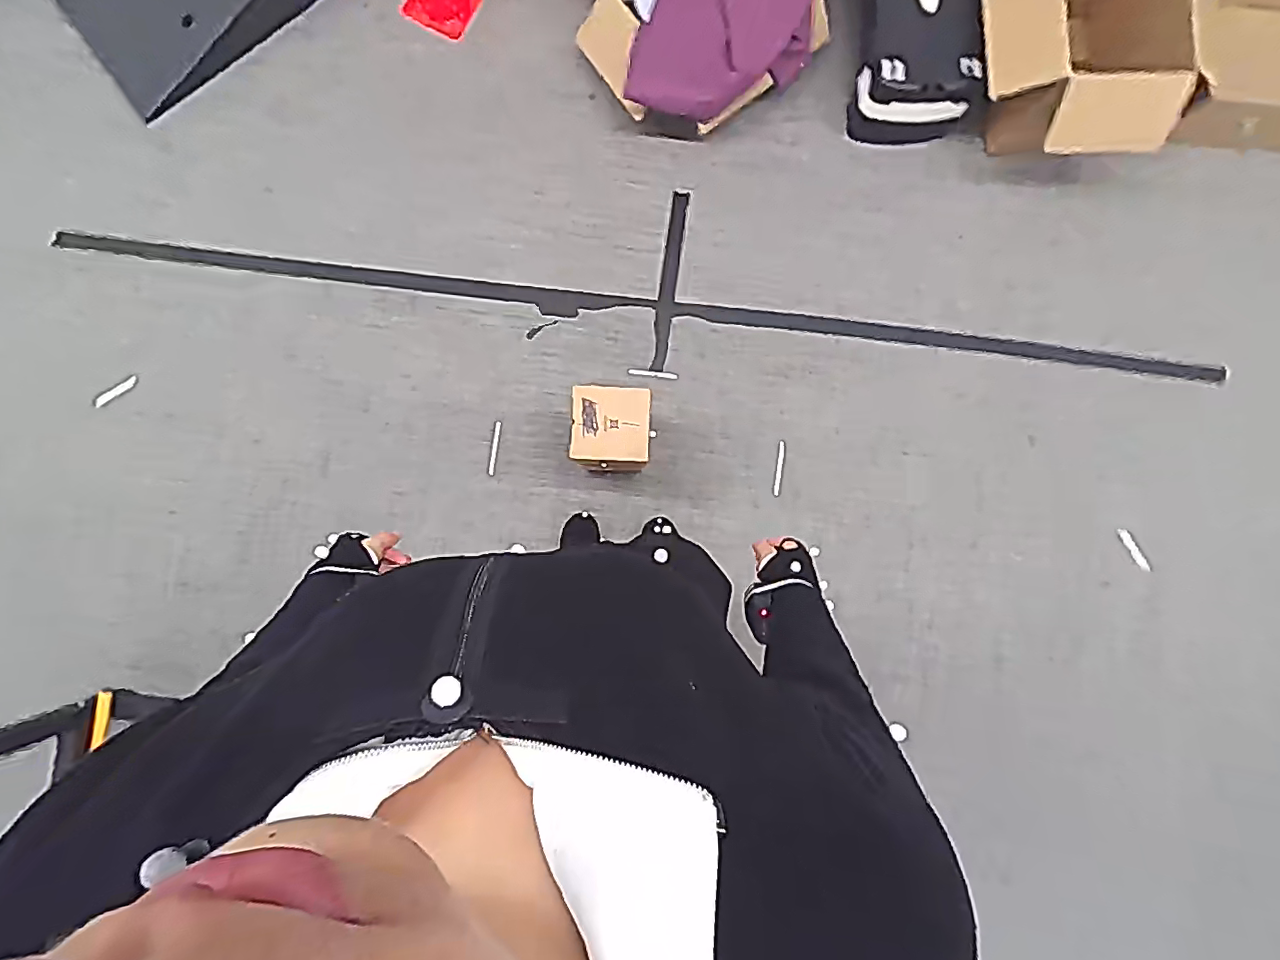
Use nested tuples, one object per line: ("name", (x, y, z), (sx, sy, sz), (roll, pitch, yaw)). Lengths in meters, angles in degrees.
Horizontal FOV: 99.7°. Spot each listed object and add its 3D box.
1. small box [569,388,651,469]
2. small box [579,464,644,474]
("small box", (-0.065, -0.116, 1.272), (0.179, 0.176, 0.168), (3, 88, 0))
("small box", (-0.070, -0.107, 1.436), (0.168, 0.176, 0.179), (1, 89, 1))
